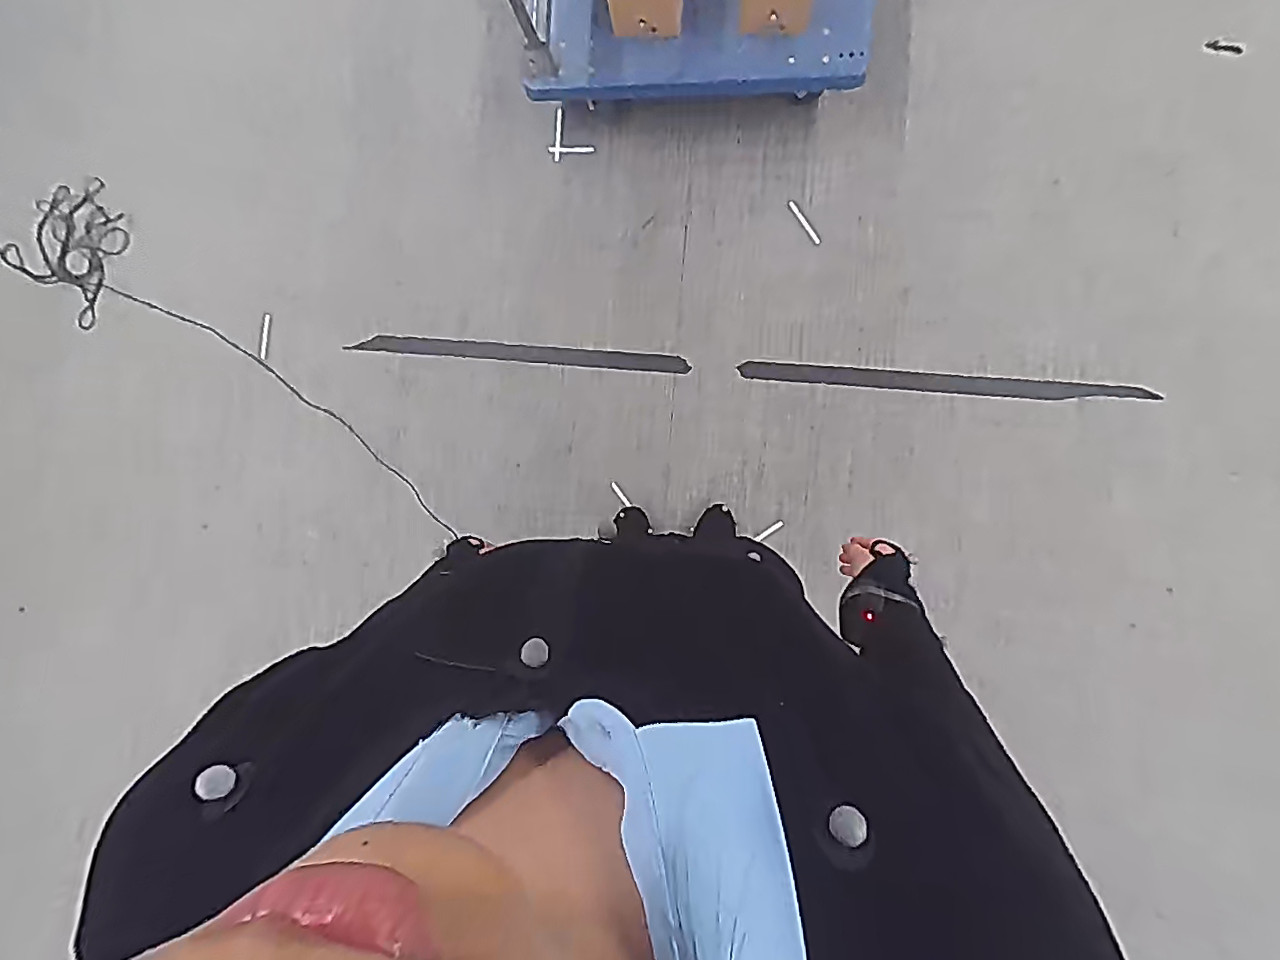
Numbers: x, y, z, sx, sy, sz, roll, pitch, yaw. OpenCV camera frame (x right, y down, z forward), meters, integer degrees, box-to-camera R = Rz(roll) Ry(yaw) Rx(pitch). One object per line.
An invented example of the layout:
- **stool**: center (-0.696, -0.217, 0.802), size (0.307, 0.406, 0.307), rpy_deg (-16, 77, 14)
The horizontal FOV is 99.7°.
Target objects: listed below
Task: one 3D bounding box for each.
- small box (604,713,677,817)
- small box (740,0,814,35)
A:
- **small box**: center (0.008, 0.731, 1.400), size (0.168, 0.176, 0.179), rpy_deg (3, 88, 7)
- **small box**: center (0.324, -1.179, 1.240), size (0.168, 0.176, 0.179), rpy_deg (7, 89, 8)
